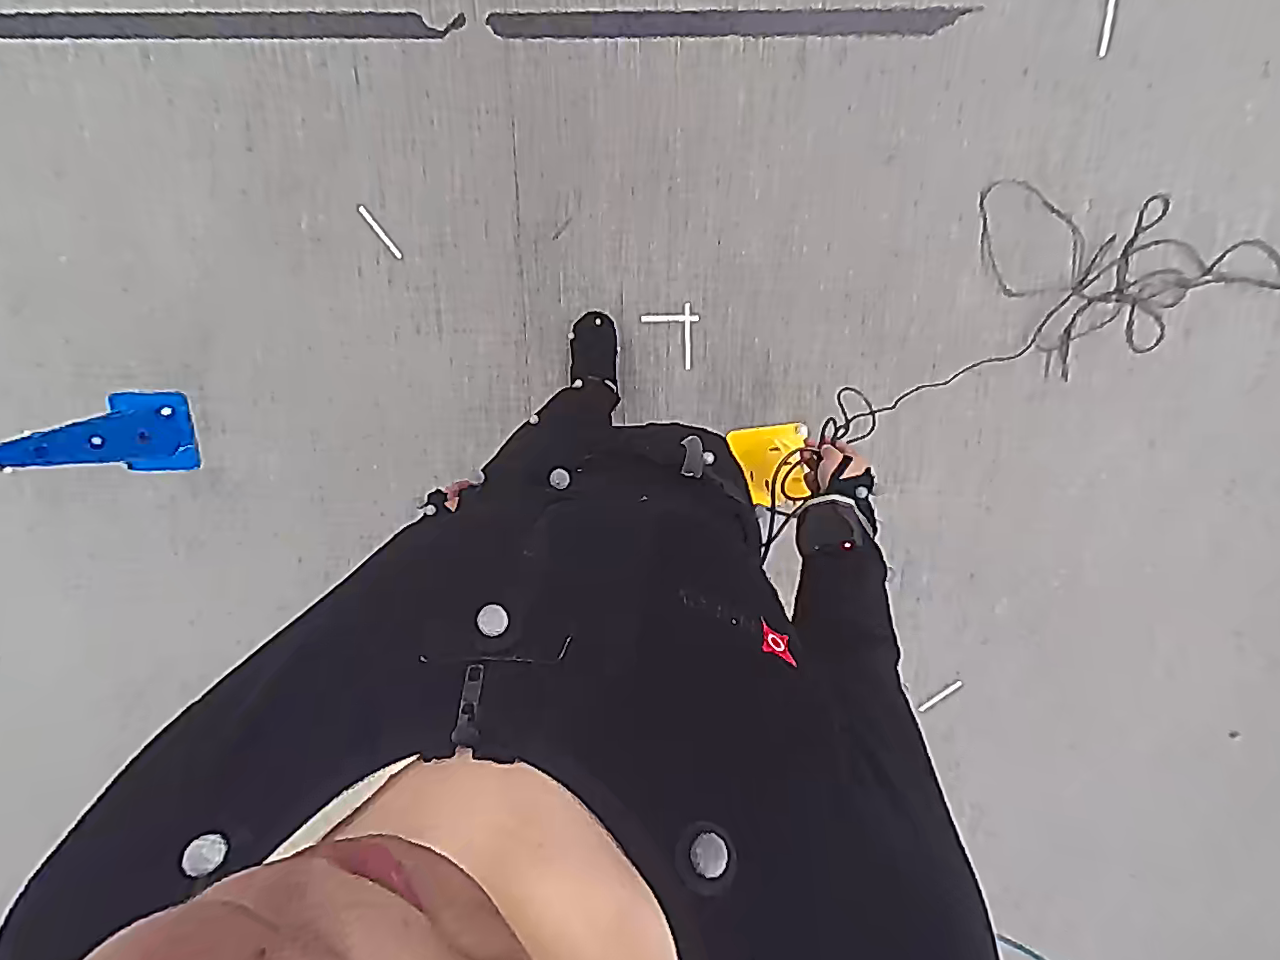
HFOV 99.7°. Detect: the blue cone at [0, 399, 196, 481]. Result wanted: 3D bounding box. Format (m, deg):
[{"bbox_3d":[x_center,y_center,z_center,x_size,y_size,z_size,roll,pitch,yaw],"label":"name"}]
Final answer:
[{"bbox_3d":[-1.225,-0.069,1.196,0.193,0.380,0.192,1,104,1],"label":"blue cone"}]
